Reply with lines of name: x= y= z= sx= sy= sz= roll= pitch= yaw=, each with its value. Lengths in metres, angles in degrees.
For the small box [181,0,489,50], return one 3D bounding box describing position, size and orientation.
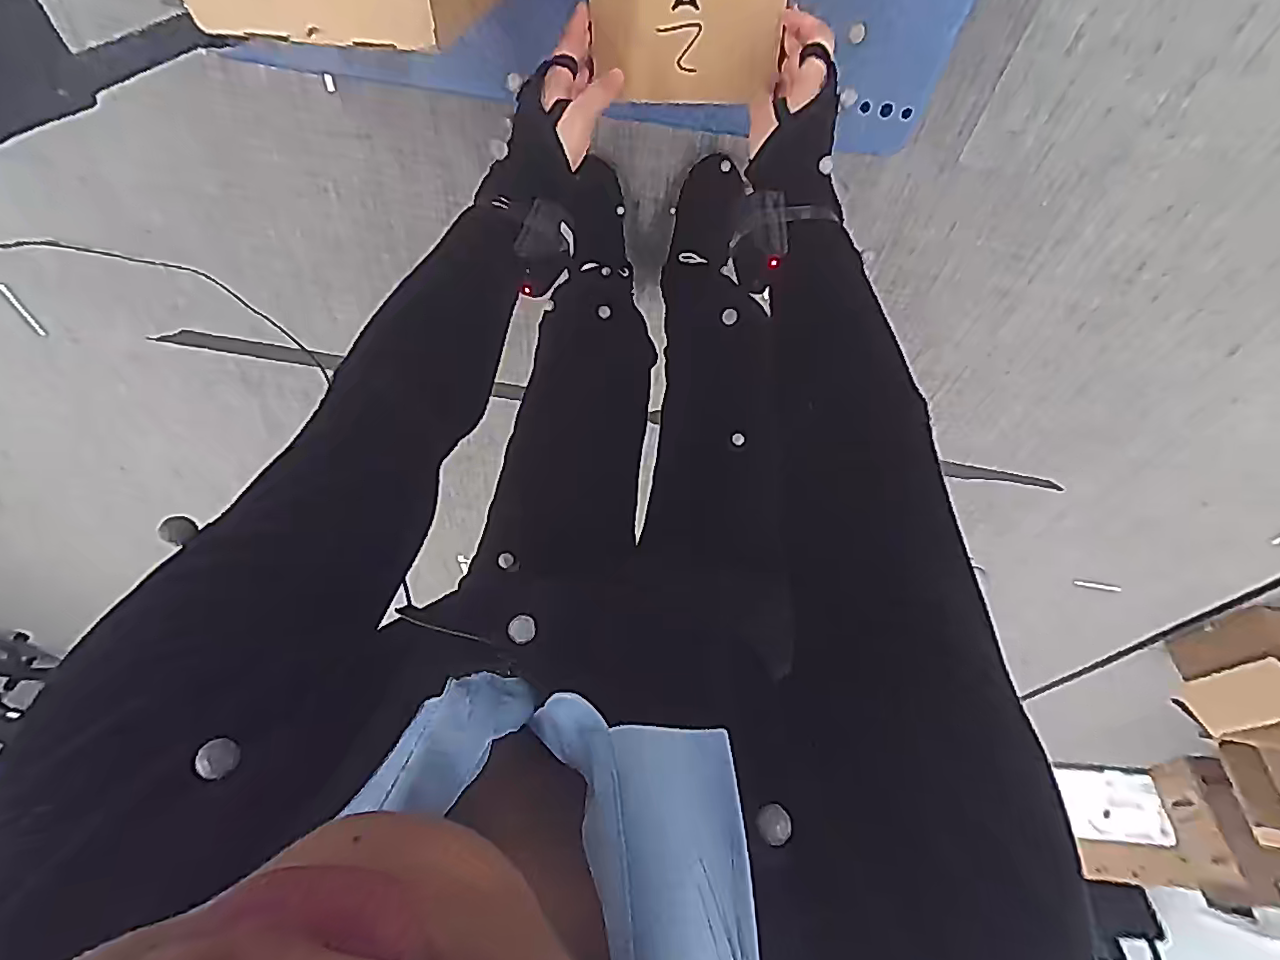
small box: x=-0.201 y=-0.407 z=0.341 sx=0.168 sy=0.176 sz=0.179 roll=6 pitch=141 yaw=1
